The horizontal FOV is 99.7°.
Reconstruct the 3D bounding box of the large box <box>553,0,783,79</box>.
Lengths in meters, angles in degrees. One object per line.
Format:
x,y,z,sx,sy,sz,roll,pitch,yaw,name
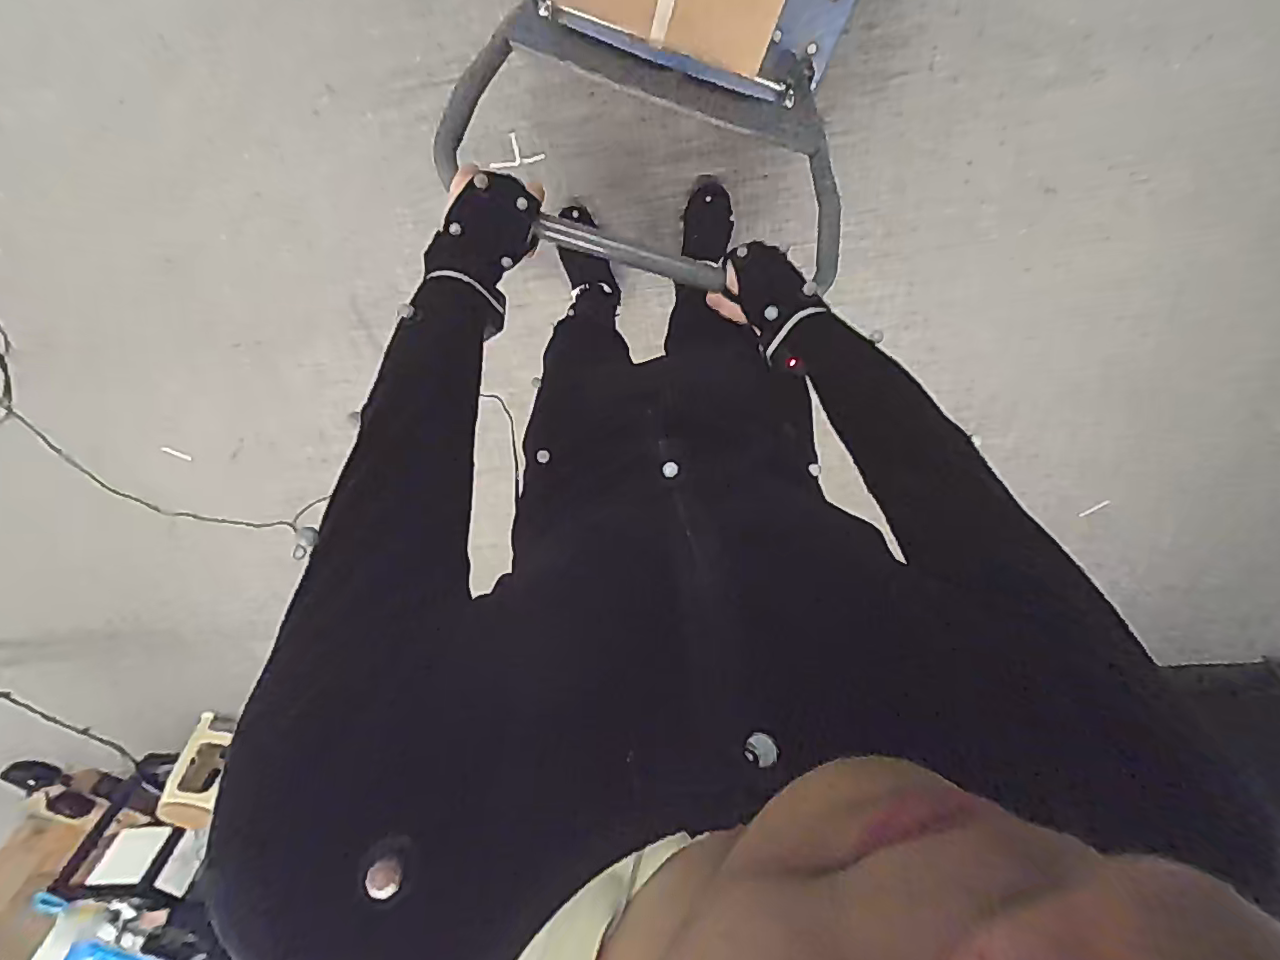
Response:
0.087,-0.863,0.735,0.320,0.320,0.408,14,139,-9,large box
